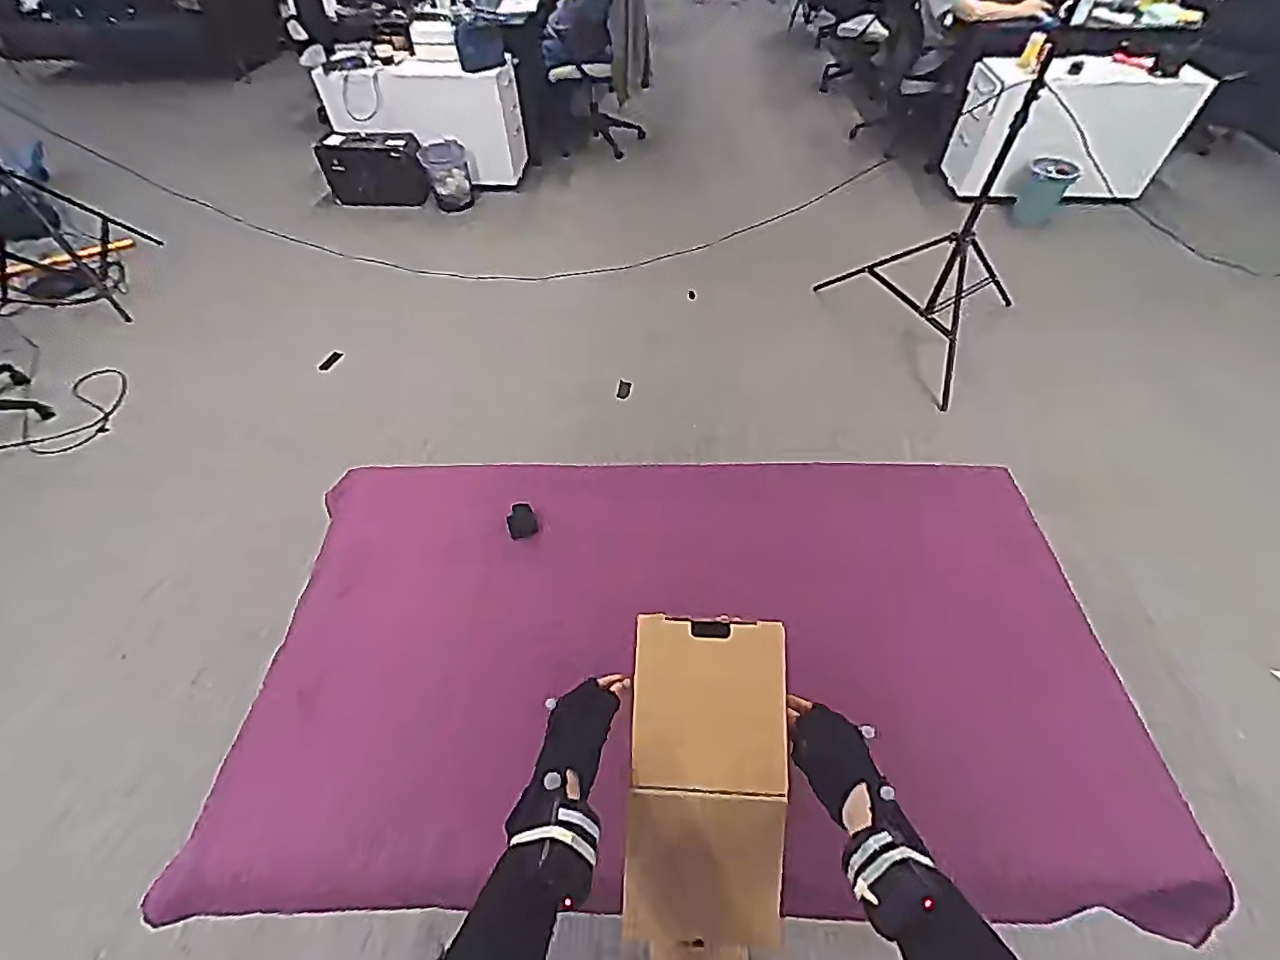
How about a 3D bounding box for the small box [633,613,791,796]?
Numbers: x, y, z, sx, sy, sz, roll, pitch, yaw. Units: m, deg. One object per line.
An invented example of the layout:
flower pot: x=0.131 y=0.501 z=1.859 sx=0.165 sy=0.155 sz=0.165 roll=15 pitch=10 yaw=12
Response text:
small box: x=0.078 y=0.262 z=0.655 sx=0.168 sy=0.176 sz=0.179 roll=2 pitch=71 yaw=2
